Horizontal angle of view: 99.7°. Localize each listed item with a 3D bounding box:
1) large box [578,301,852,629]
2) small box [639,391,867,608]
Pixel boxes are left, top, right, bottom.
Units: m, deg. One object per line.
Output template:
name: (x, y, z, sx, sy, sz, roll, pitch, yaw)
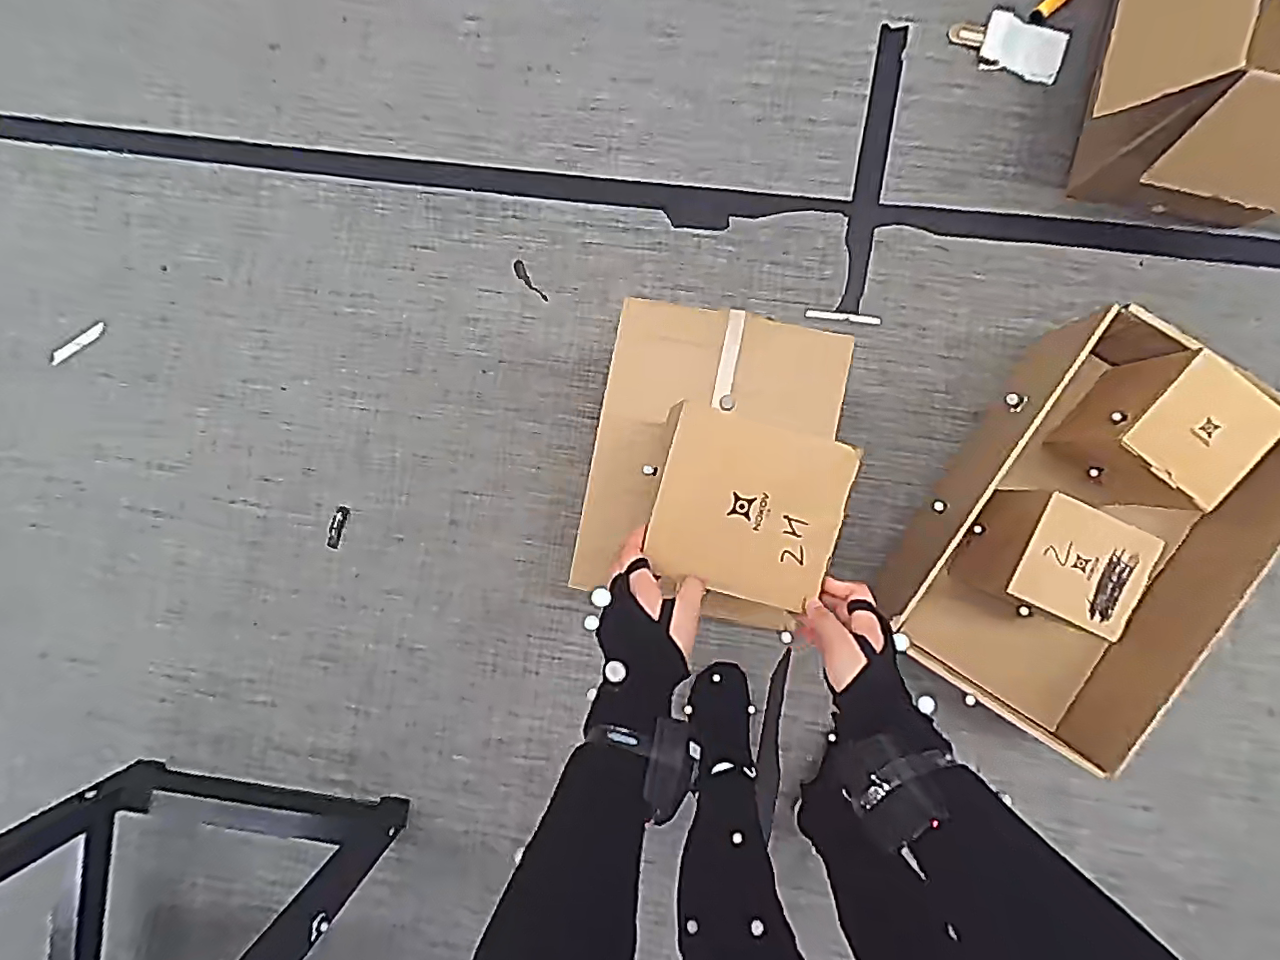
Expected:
large box: (0.106, -0.027, 0.870, 0.320, 0.320, 0.408, 11, 93, 4)
small box: (0.101, 0.014, 0.576, 0.179, 0.176, 0.168, 16, 95, -3)
